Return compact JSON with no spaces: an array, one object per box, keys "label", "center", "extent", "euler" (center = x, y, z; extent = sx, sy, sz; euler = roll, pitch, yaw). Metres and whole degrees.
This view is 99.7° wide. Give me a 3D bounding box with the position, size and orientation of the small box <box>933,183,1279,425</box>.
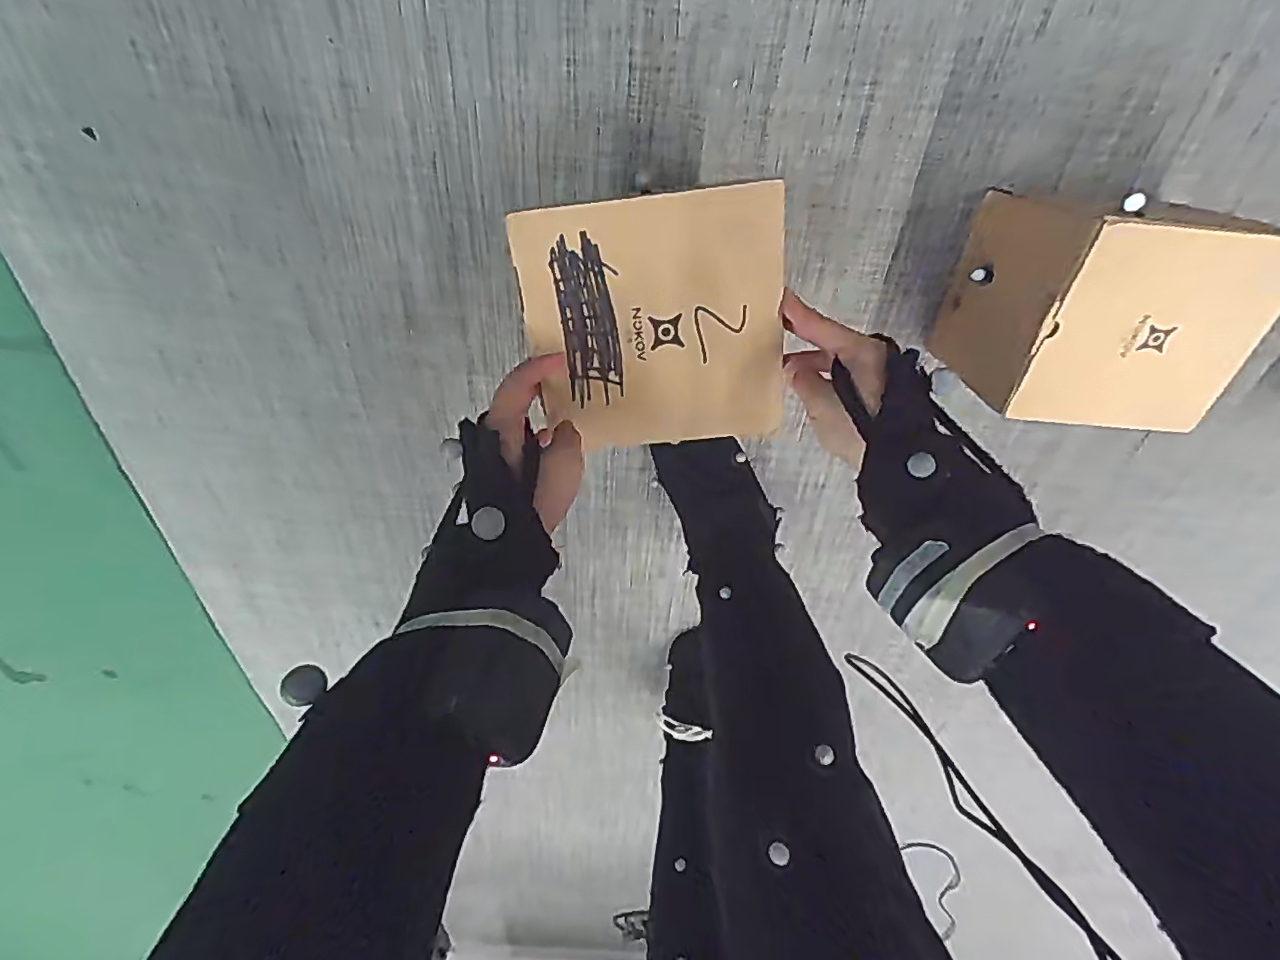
[{"label":"small box","center":[0.416,-0.168,0.503],"extent":[0.179,0.176,0.168],"euler":[5,126,0]}]
